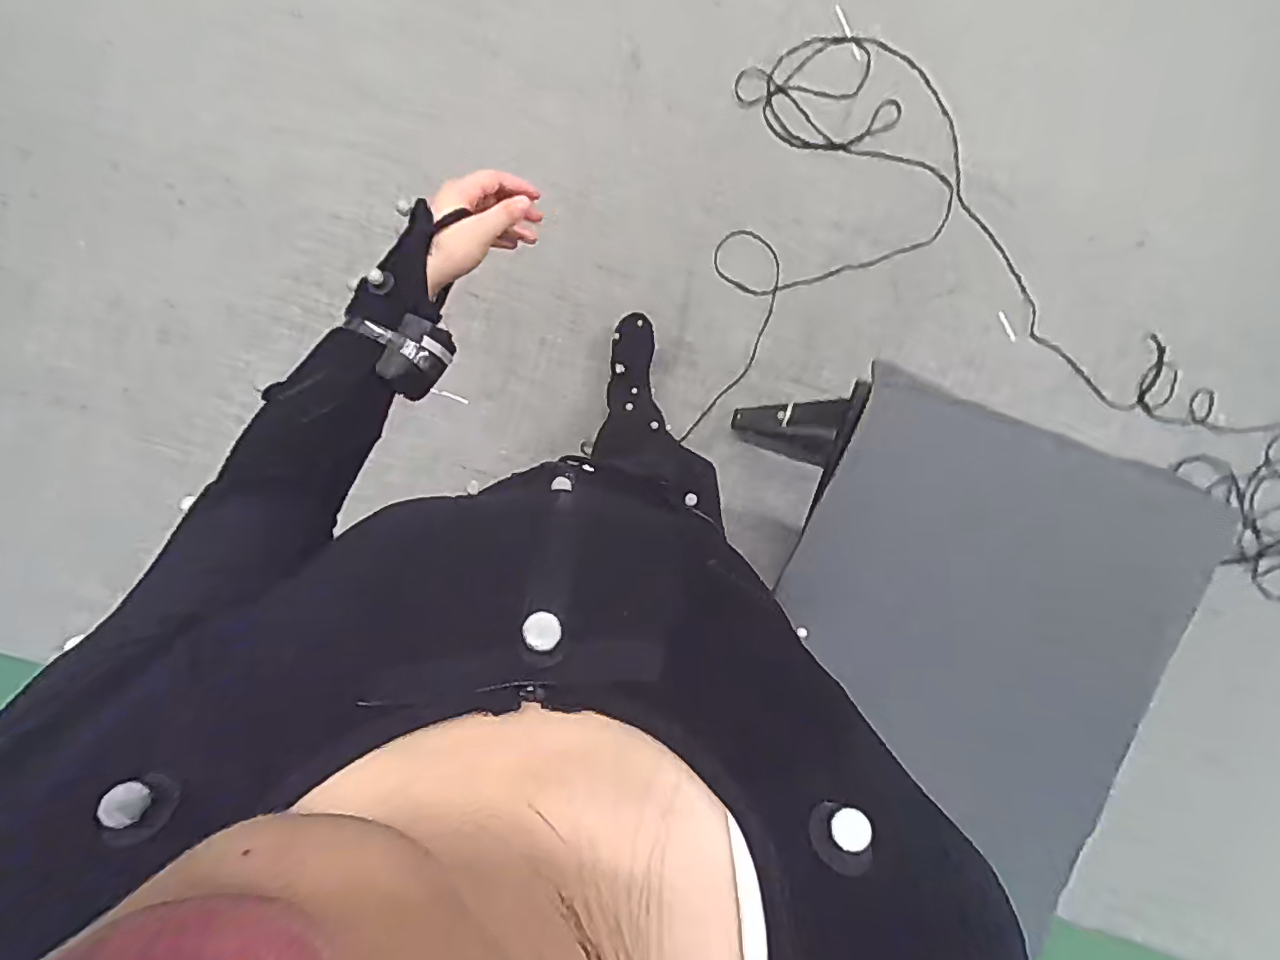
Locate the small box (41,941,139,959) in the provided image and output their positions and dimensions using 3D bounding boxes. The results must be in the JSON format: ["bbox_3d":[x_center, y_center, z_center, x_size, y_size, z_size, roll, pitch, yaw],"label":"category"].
[{"bbox_3d":[-1.177,1.086,1.088,0.179,0.176,0.168,21,95,-7],"label":"small box"}]
